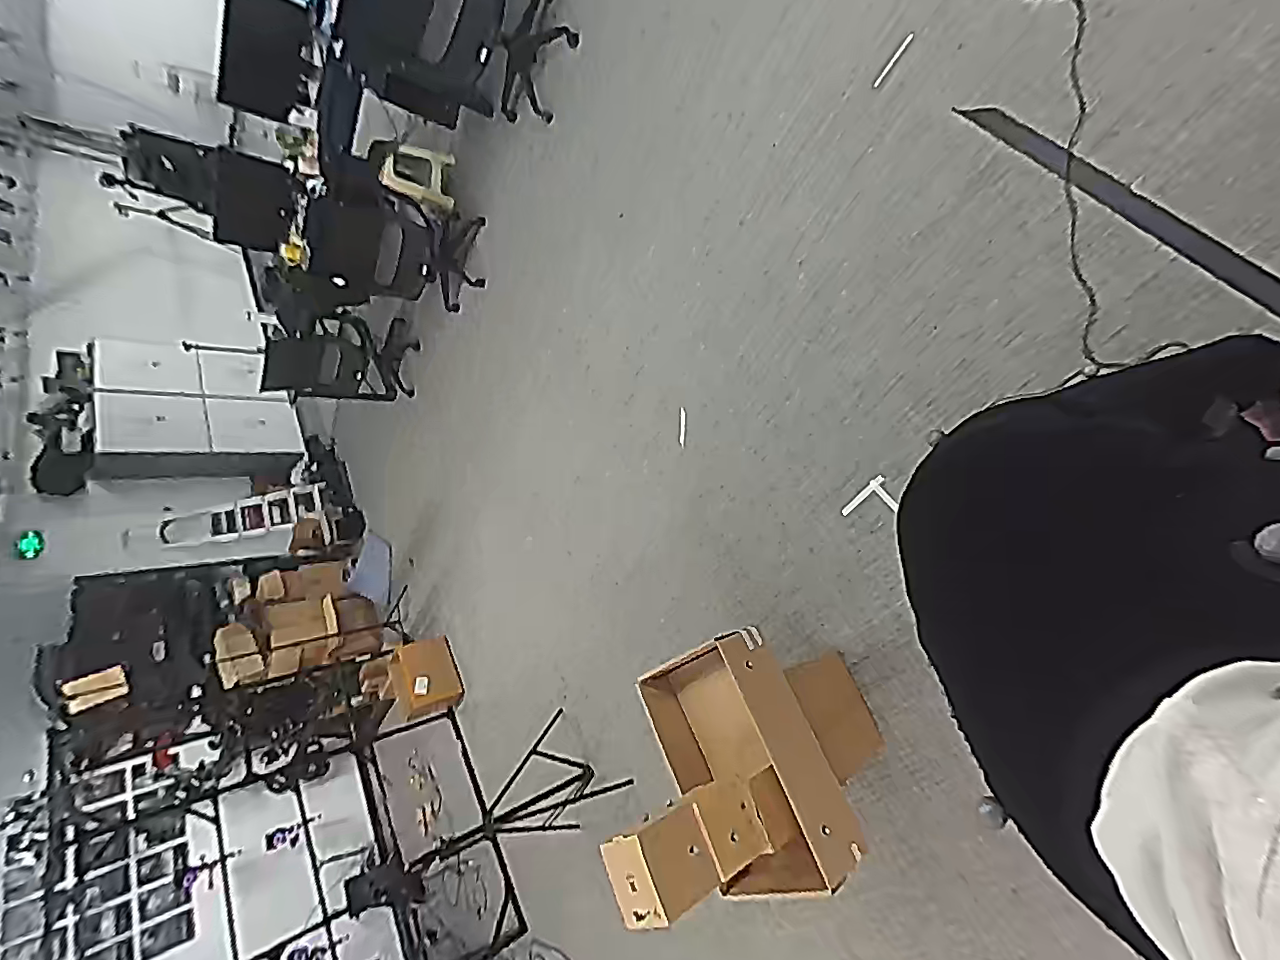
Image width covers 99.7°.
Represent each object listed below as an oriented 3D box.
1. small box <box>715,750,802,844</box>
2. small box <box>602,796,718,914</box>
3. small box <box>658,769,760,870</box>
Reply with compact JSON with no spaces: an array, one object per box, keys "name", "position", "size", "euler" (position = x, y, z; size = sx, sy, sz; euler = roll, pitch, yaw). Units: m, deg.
[{"name":"small box","position":[0.305,0.842,1.442],"size":[0.179,0.176,0.168],"euler":[-40,62,42]},{"name":"small box","position":[0.045,0.854,1.243],"size":[0.168,0.176,0.179],"euler":[-46,58,40]},{"name":"small box","position":[0.174,0.844,1.345],"size":[0.179,0.176,0.168],"euler":[-45,59,41]}]
